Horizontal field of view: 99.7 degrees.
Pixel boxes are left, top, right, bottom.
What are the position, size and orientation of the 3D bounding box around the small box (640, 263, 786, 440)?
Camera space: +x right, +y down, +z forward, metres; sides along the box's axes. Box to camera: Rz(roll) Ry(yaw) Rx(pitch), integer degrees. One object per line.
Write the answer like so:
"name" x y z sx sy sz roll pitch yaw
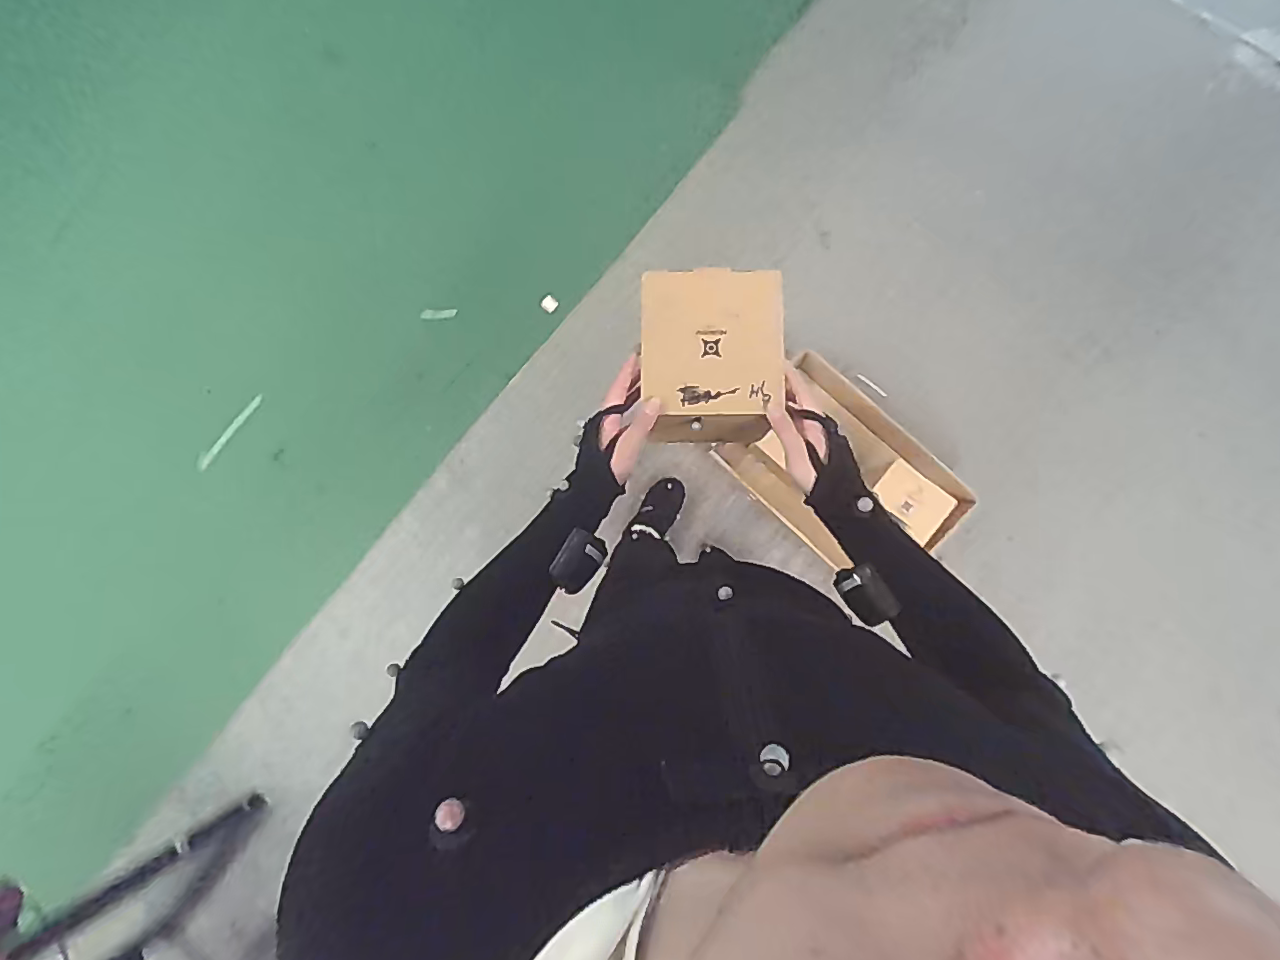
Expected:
"small box" 0.085 -0.153 0.691 0.168 0.176 0.179 0 84 3
